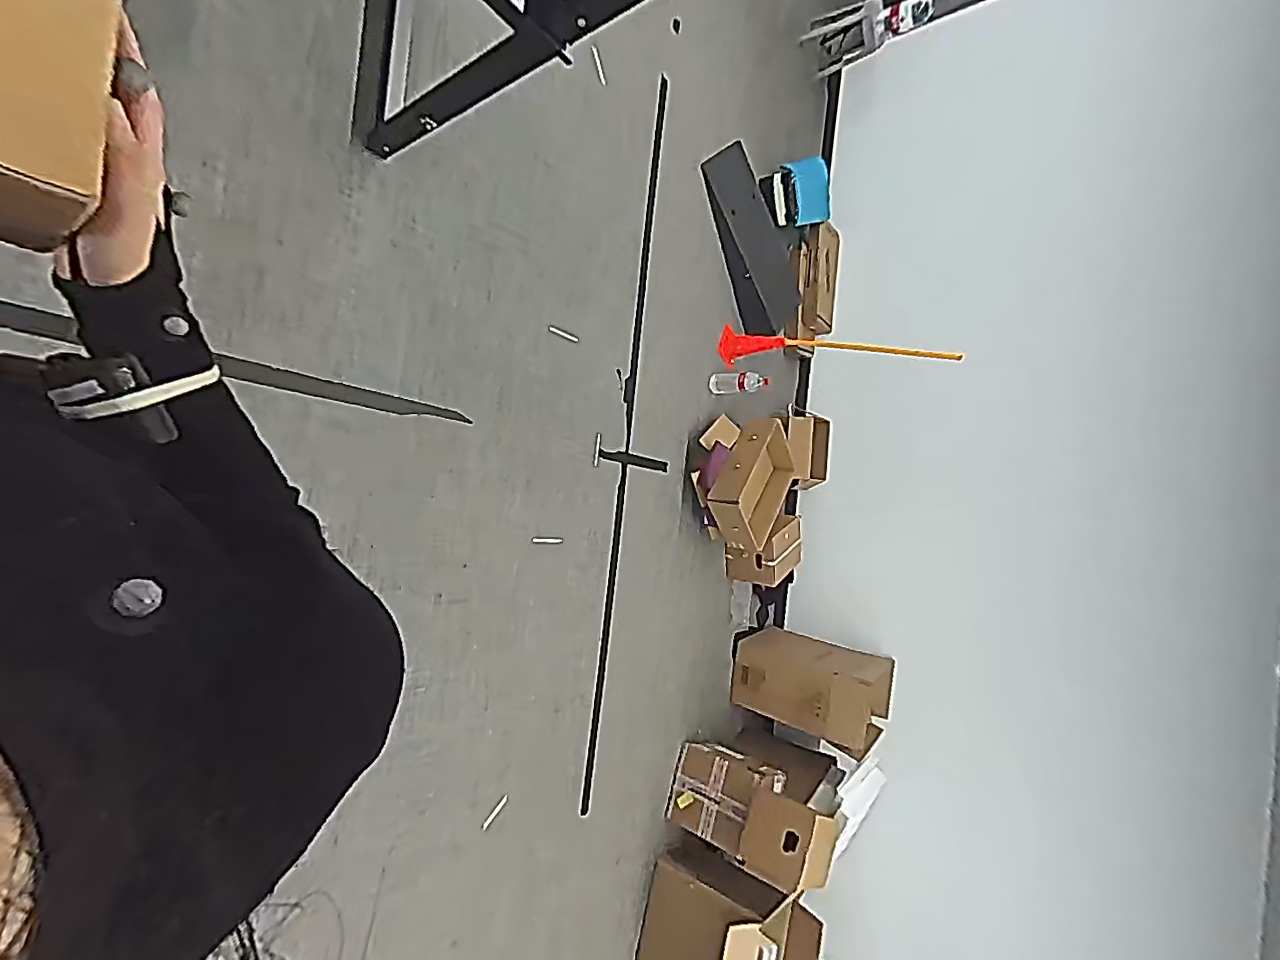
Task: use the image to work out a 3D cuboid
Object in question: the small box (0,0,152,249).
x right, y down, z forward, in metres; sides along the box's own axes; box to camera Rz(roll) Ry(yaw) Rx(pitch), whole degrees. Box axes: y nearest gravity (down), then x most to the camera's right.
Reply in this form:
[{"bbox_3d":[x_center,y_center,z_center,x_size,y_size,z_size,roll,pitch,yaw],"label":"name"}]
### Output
[{"bbox_3d":[-0.344,-0.227,0.237,0.168,0.176,0.179,7,91,-53],"label":"small box"}]
